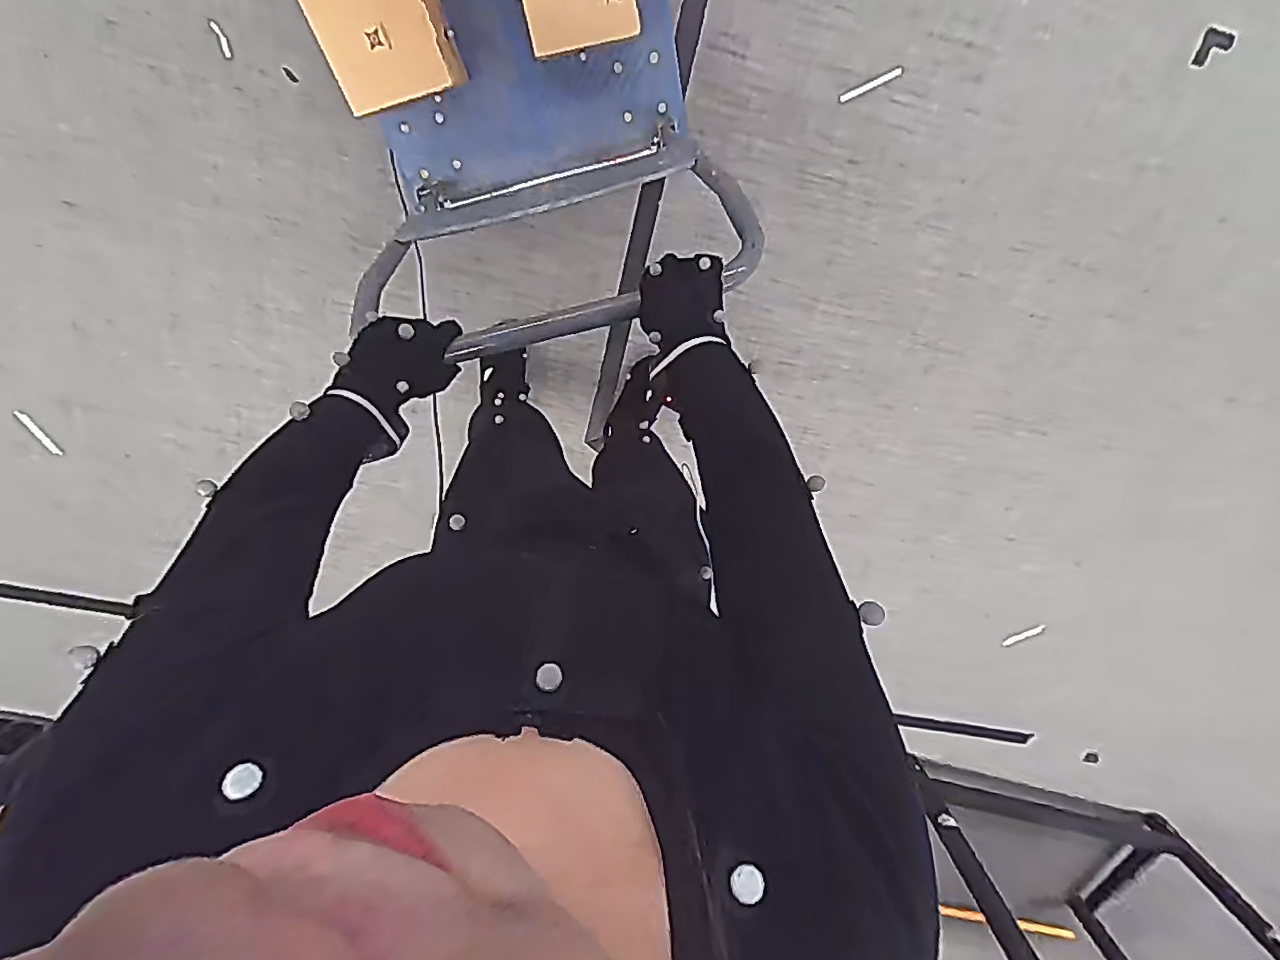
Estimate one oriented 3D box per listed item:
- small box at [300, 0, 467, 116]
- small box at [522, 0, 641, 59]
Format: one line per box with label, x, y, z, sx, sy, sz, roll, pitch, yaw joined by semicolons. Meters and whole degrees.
small box;-0.409;-0.724;0.895;0.179;0.176;0.168;-17;127;3
small box;-0.101;-0.799;0.873;0.179;0.176;0.168;-11;127;2
